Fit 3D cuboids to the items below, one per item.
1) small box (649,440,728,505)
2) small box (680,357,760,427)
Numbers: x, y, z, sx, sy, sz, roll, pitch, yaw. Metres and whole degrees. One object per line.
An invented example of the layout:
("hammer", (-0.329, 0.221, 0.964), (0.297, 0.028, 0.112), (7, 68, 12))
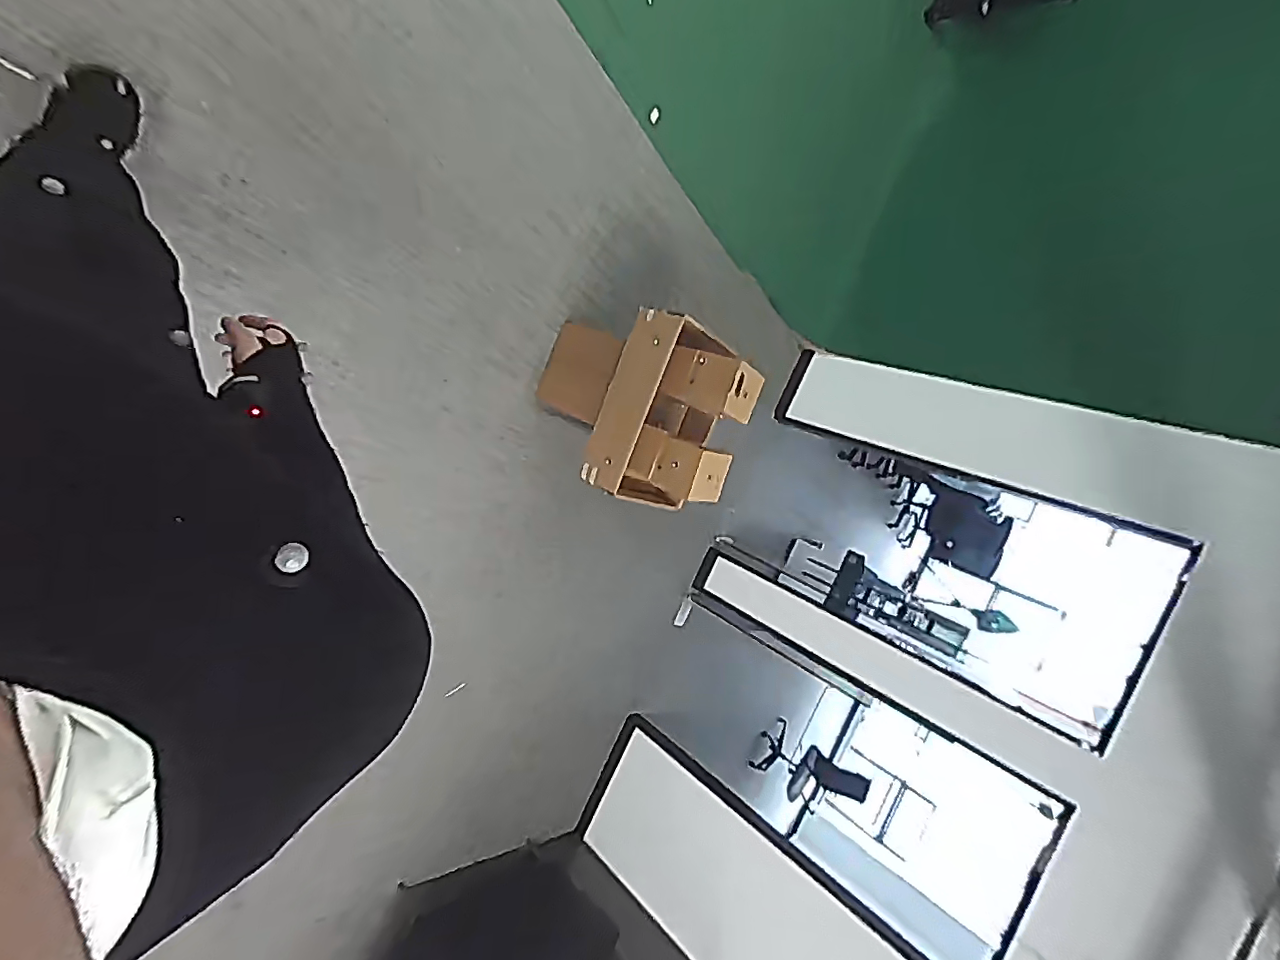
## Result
("small box", (0.155, -0.027, 1.775), (0.179, 0.176, 0.168), (6, 106, -51))
("small box", (0.256, -0.289, 1.753), (0.179, 0.176, 0.168), (18, 95, -54))
